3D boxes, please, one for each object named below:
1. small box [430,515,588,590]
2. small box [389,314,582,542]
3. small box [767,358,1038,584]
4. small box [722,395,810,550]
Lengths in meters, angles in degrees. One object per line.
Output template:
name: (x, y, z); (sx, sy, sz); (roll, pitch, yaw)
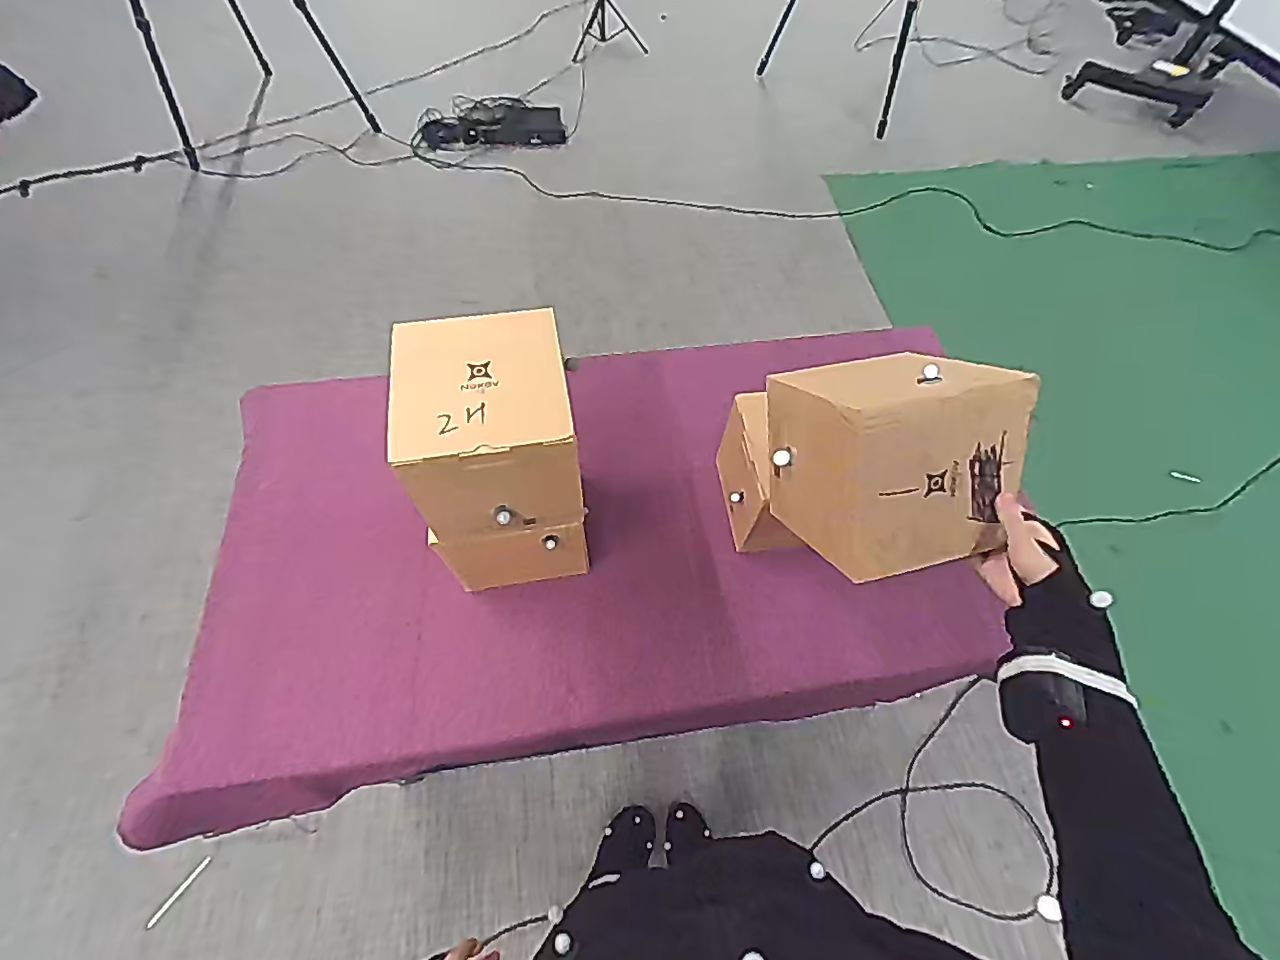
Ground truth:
small box: (-0.170, 0.036, 0.732); (0.179, 0.176, 0.168); (-8, 60, -8)
small box: (-0.158, -0.053, 0.593); (0.168, 0.176, 0.179); (-9, 60, -7)
small box: (0.247, -0.023, 0.550); (0.179, 0.168, 0.176); (-11, 22, -11)
small box: (0.220, -0.008, 0.771); (0.179, 0.176, 0.168); (-5, 60, -6)
